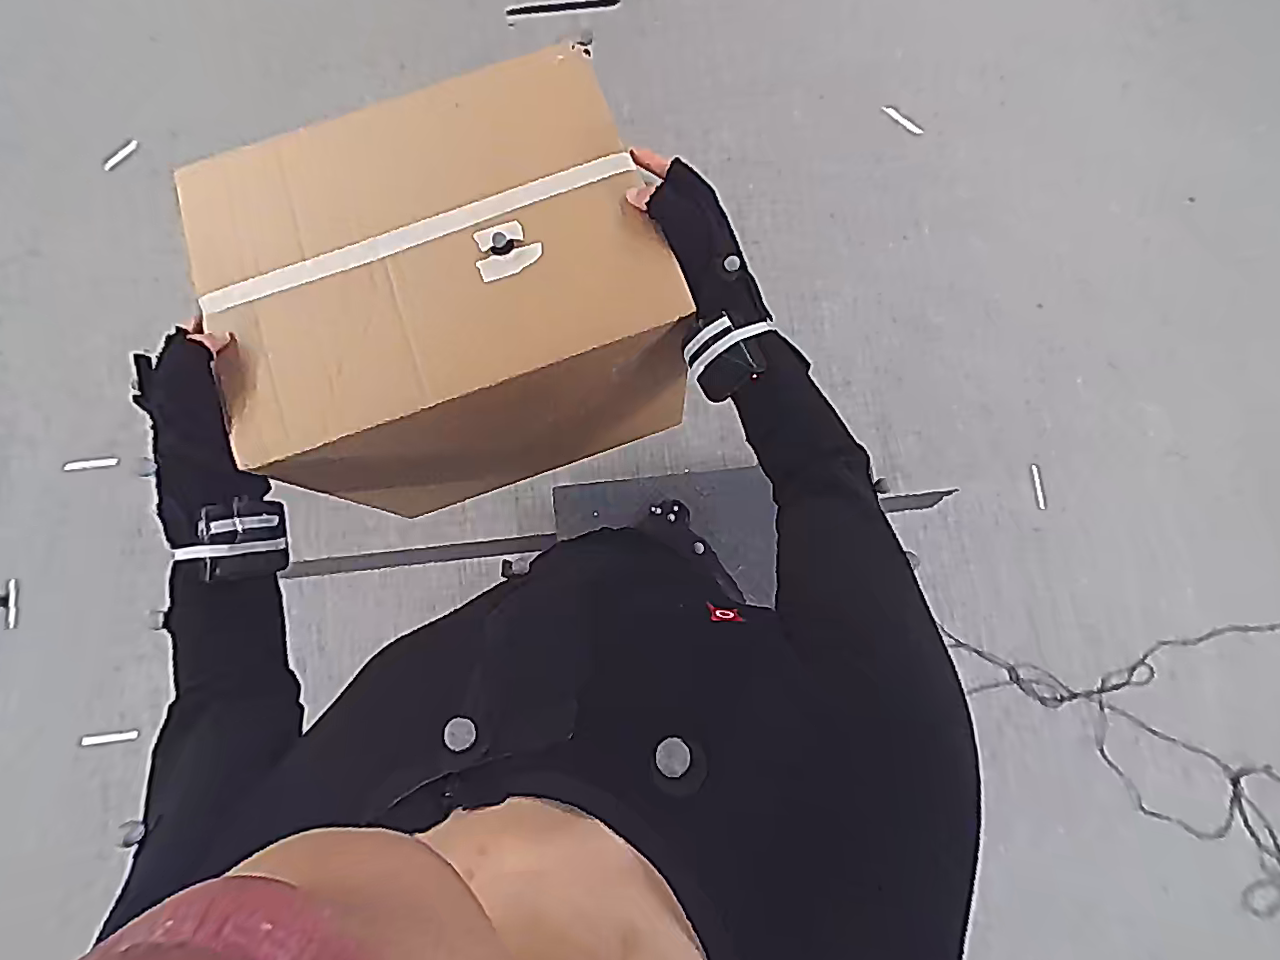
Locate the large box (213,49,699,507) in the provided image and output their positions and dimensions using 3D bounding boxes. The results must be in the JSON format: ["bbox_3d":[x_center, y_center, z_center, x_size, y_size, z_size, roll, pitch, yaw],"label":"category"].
[{"bbox_3d":[-0.178,-0.195,0.646,0.408,0.320,0.320,-19,78,-2],"label":"large box"}]

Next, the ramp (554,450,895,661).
[{"bbox_3d":[0.271,0.193,1.586,0.991,0.206,0.509,-9,83,-3],"label":"ramp"}]
